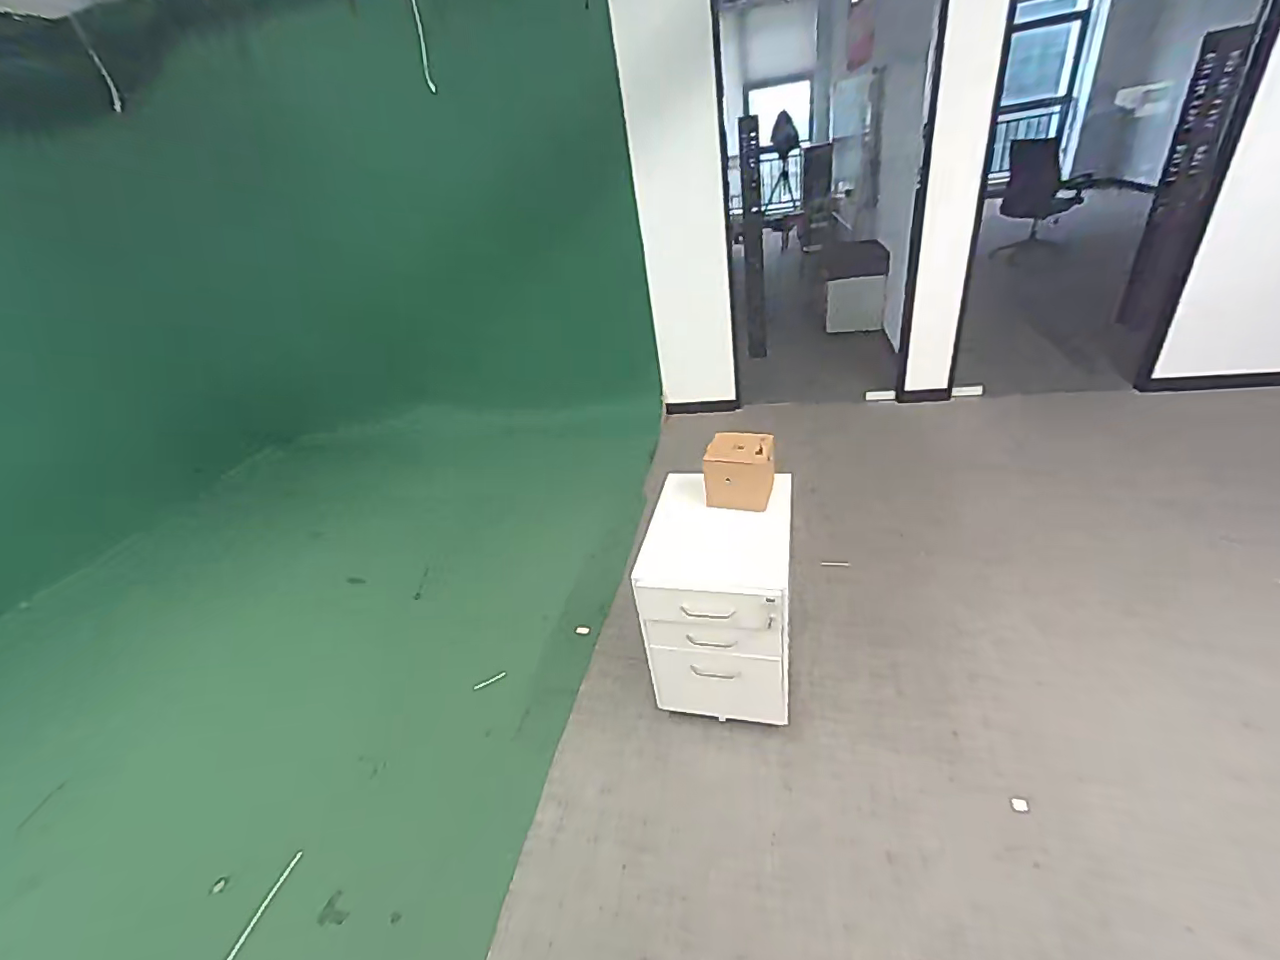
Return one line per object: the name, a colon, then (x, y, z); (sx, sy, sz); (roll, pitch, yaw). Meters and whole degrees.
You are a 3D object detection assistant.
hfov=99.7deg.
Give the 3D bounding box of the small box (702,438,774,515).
small box: (0.295, -0.011, 1.602); (0.179, 0.176, 0.168); (4, 35, 23)
